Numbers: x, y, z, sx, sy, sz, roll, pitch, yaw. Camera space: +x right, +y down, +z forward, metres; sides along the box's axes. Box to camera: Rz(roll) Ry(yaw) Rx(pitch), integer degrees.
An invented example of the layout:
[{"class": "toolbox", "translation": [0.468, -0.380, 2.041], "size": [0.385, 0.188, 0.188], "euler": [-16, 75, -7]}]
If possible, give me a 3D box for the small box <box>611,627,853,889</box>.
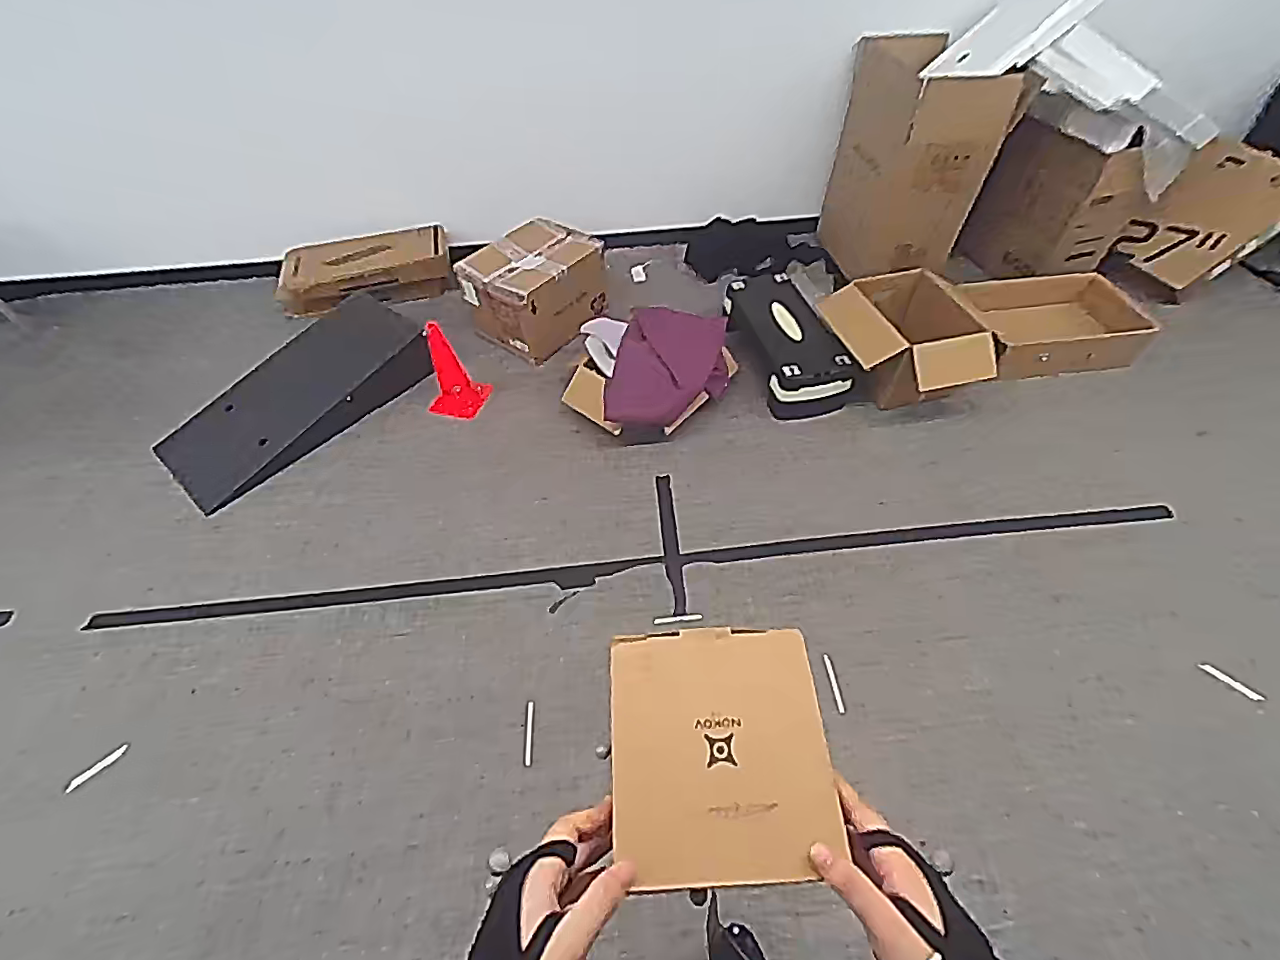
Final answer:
[{"class": "small box", "translation": [0.058, 0.243, 0.475], "size": [0.168, 0.176, 0.179], "euler": [-2, 57, -2]}]
